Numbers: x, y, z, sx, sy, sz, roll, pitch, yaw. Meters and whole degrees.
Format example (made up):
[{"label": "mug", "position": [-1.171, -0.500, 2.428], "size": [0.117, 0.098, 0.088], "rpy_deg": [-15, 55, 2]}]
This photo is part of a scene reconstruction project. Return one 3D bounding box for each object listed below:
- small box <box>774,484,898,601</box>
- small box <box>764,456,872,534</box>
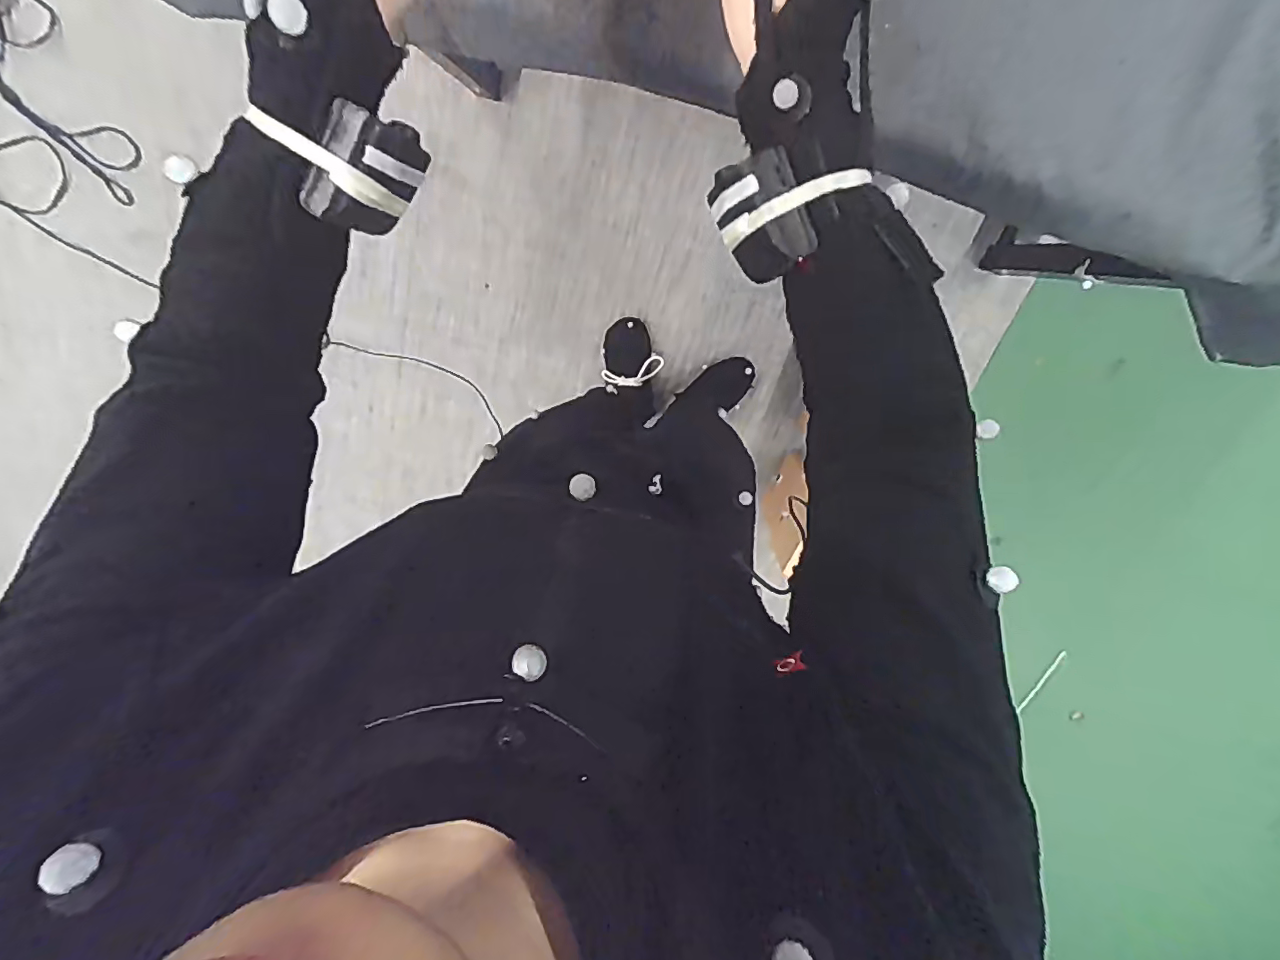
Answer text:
[{"label": "small box", "position": [0.415, 0.129, 1.178], "size": [0.179, 0.176, 0.168], "rpy_deg": [21, 111, -5]}, {"label": "small box", "position": [0.427, 0.060, 1.327], "size": [0.179, 0.176, 0.168], "rpy_deg": [21, 112, -5]}]
